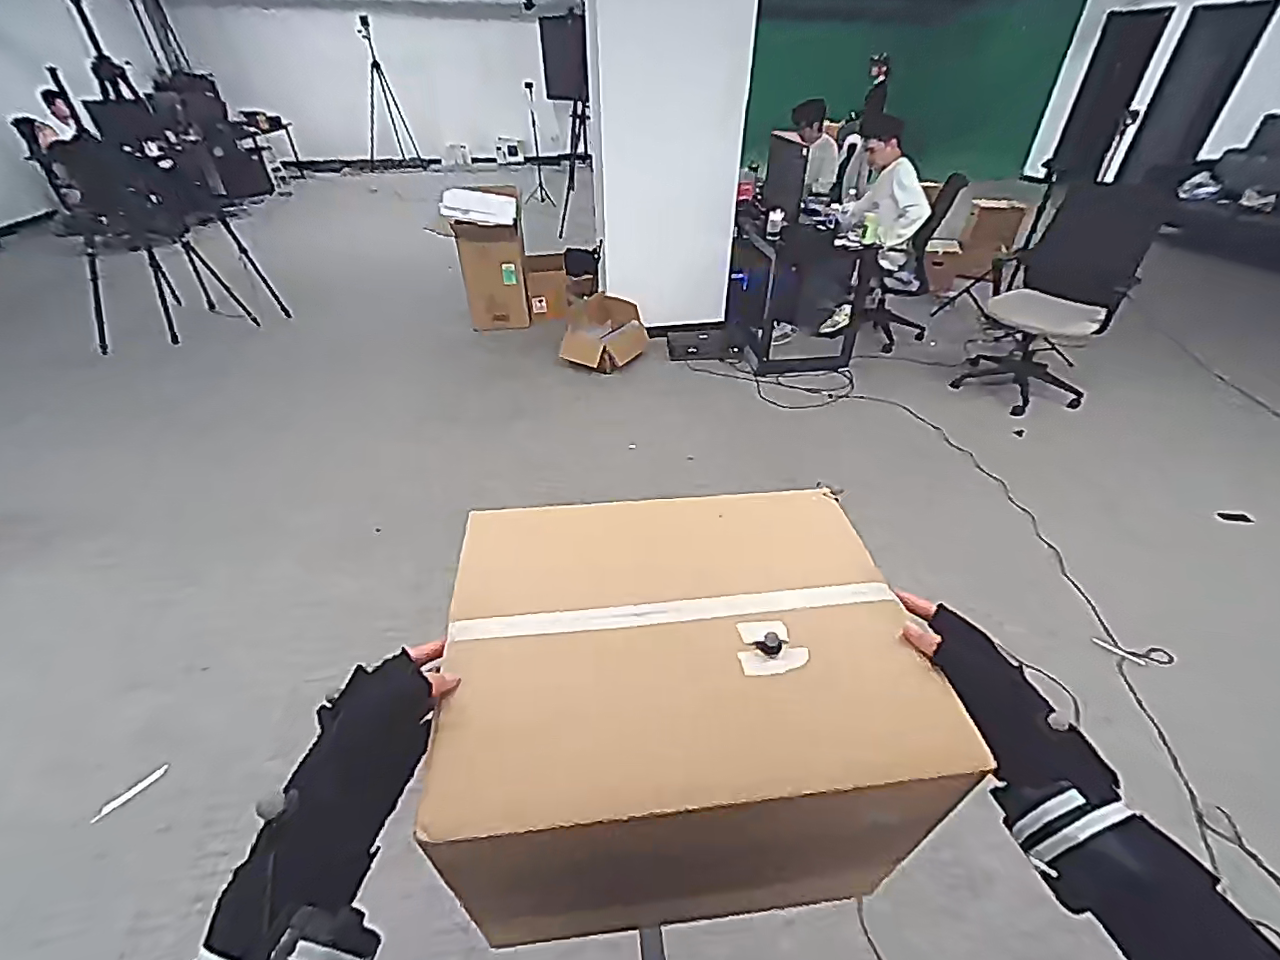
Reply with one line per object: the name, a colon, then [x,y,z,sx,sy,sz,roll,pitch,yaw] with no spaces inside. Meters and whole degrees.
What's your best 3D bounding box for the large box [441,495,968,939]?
large box: [0.033,0.242,0.595,0.408,0.320,0.320,-4,40,-7]
